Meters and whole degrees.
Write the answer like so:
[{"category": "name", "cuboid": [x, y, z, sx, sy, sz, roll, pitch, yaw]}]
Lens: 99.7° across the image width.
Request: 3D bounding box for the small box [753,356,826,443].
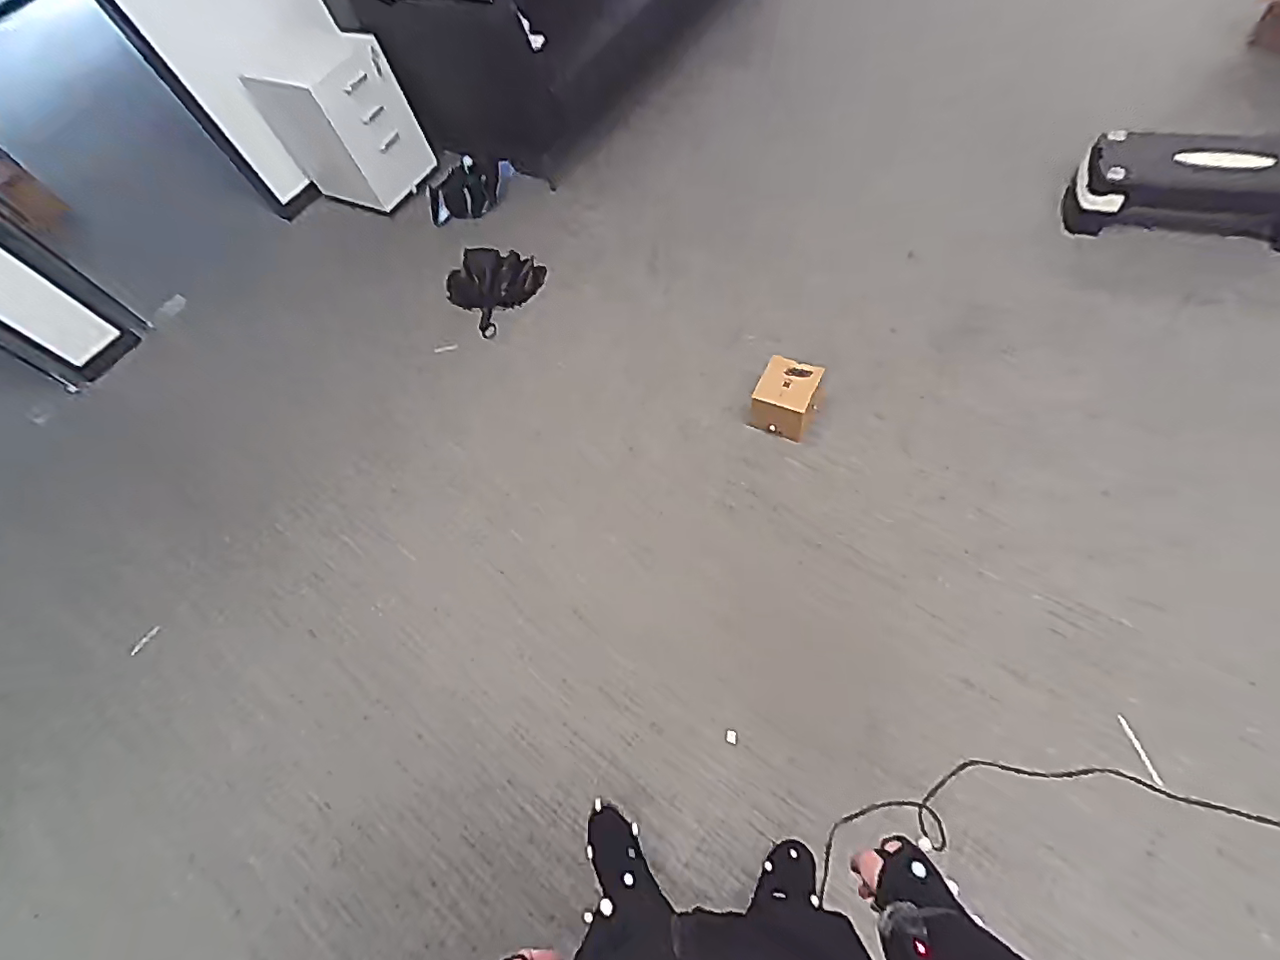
[{"category": "small box", "cuboid": [0.461, -0.248, 1.686, 0.168, 0.176, 0.179, 22, 69, 22]}]
